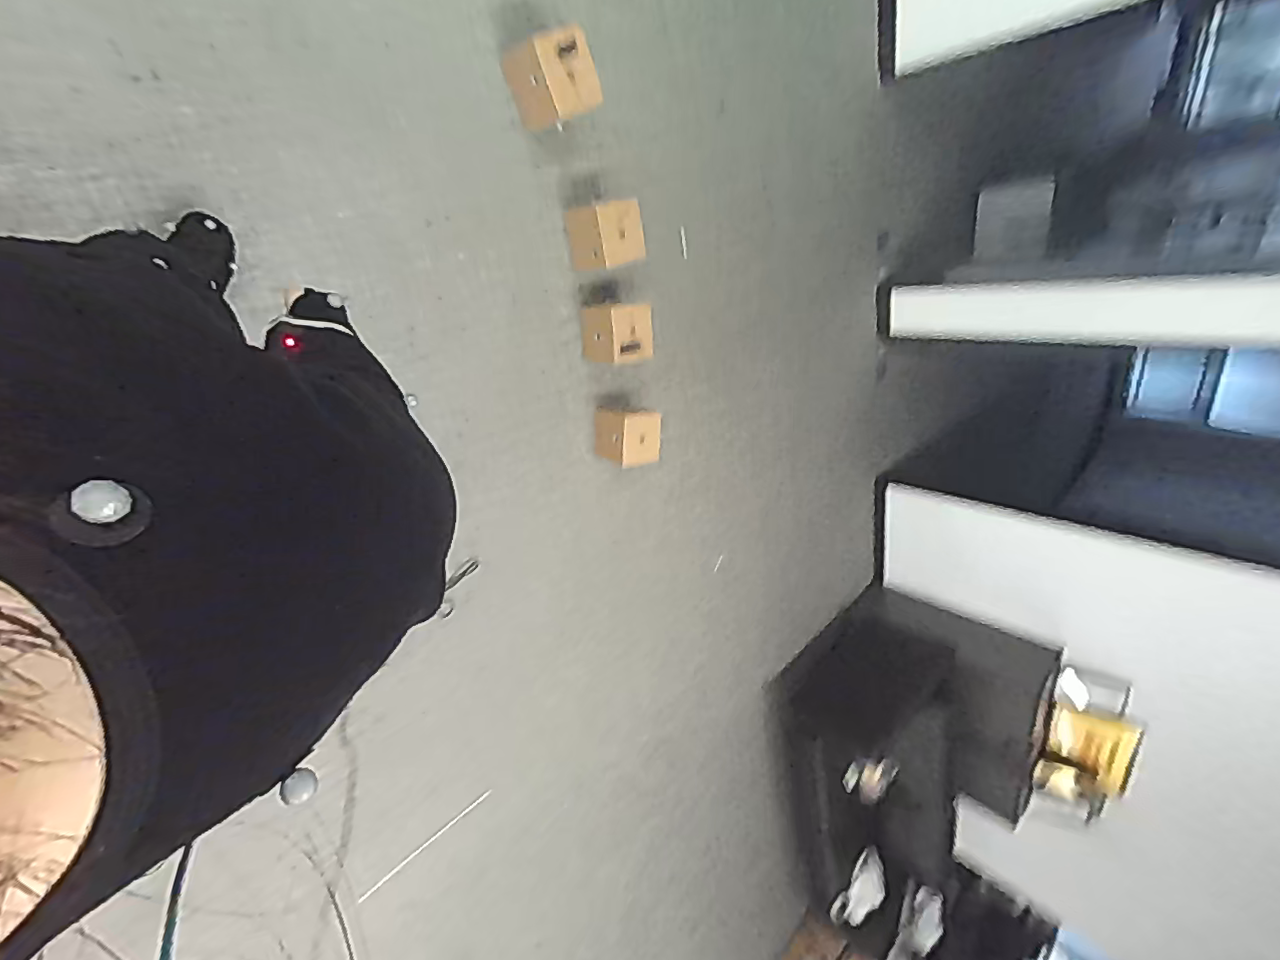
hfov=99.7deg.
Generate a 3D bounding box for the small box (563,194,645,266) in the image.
[{"bbox_3d":[-0.110,-0.757,1.650,0.168,0.176,0.179,-29,121,-33],"label":"small box"}]

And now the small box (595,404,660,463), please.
[{"bbox_3d":[-0.047,-0.170,1.898,0.168,0.176,0.179,-12,112,-39],"label":"small box"}]

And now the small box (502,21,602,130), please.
[{"bbox_3d":[-0.237,-1.068,1.436,0.168,0.176,0.179,-41,128,-26],"label":"small box"}]
